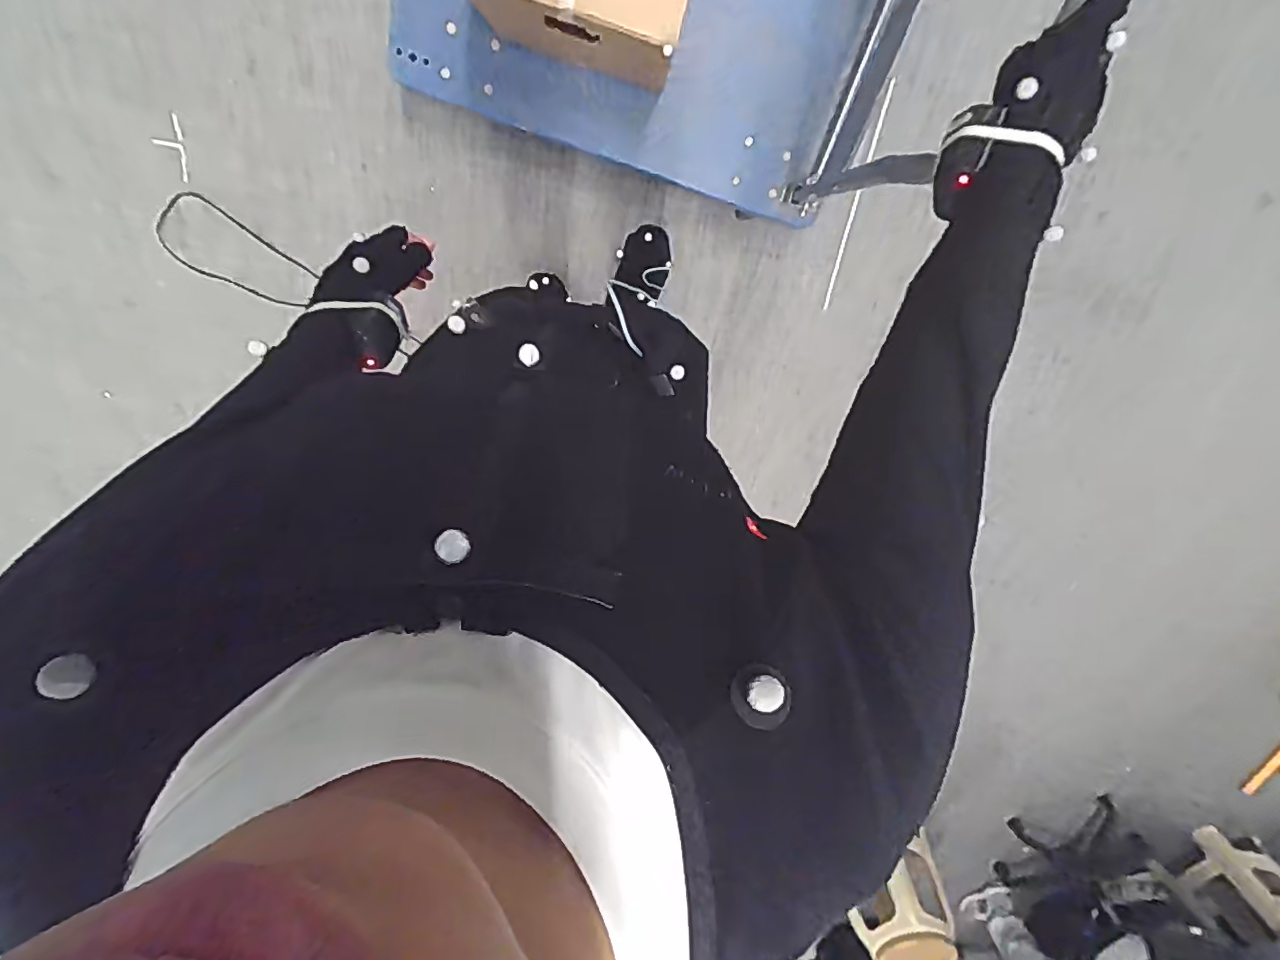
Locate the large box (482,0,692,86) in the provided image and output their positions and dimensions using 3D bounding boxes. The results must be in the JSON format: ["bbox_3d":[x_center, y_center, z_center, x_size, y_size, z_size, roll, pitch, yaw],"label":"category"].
[{"bbox_3d":[-0.045,-0.874,0.778,0.320,0.320,0.408,14,116,-6],"label":"large box"}]
